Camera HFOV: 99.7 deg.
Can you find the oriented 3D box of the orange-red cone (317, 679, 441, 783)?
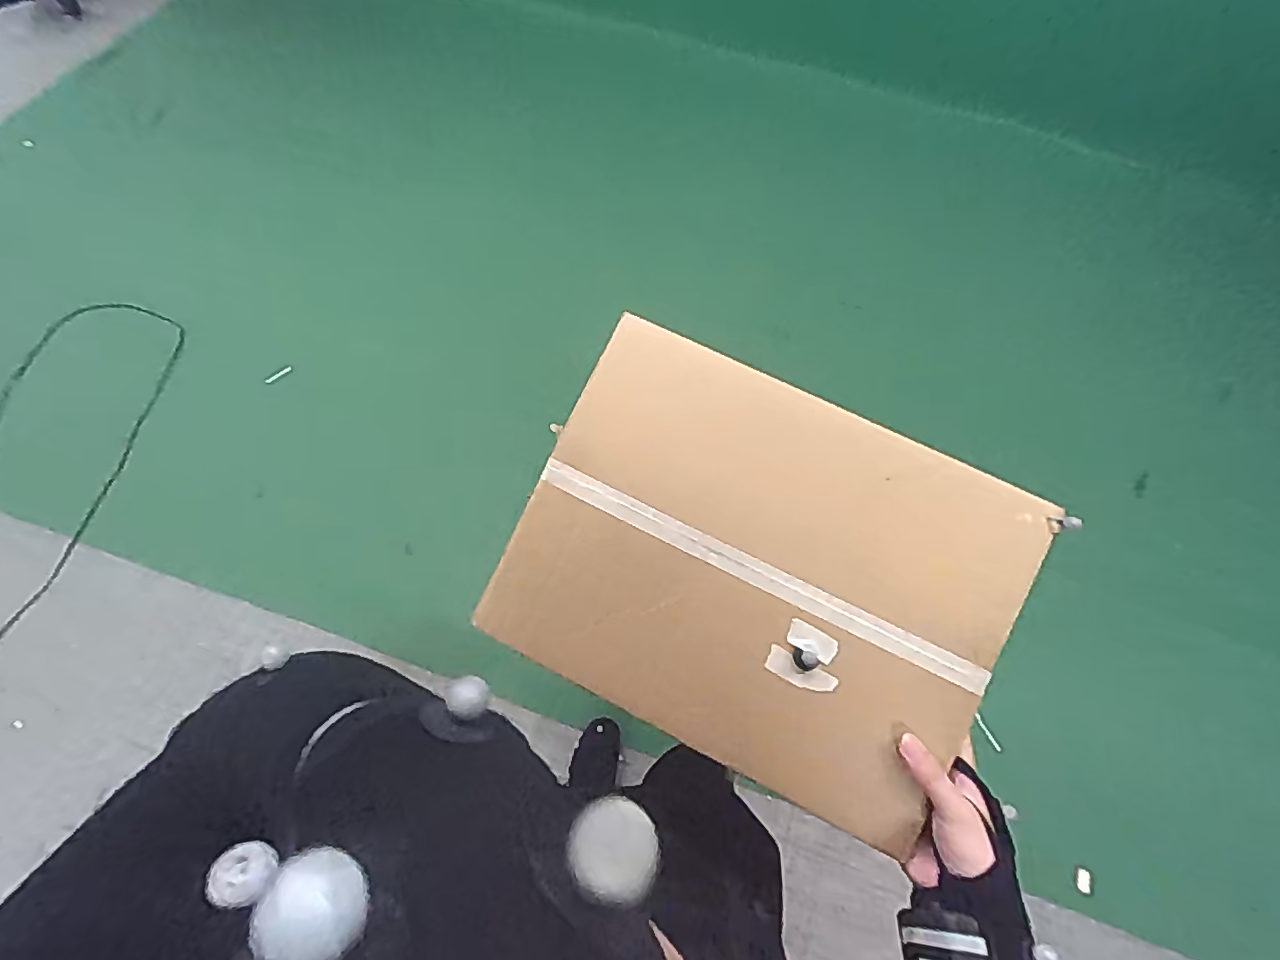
[{"bbox_3d":[-0.630,0.566,1.229,0.199,0.360,0.198,24,66,9],"label":"orange-red cone"}]

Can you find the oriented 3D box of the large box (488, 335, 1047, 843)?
[{"bbox_3d":[0.113,0.094,0.617,0.408,0.320,0.320,26,88,6],"label":"large box"}]
